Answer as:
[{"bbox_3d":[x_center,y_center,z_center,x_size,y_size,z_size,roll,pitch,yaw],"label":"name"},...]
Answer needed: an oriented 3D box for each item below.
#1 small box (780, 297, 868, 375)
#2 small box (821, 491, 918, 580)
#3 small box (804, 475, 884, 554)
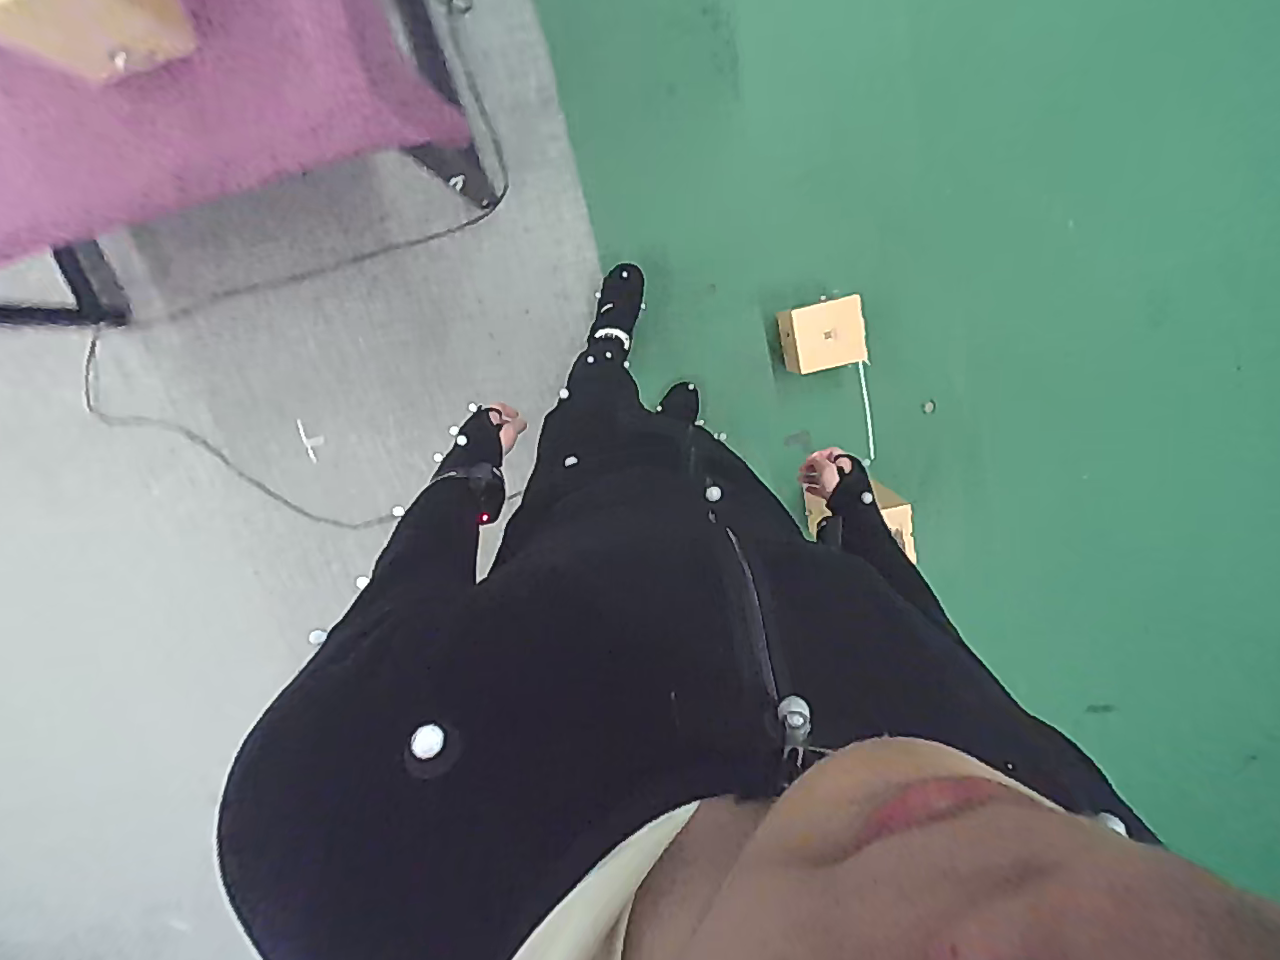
[{"bbox_3d":[0.483,-0.382,1.448,0.179,0.176,0.168,-13,104,3],"label":"small box"},{"bbox_3d":[0.593,0.137,1.409,0.179,0.176,0.168,-12,104,4],"label":"small box"},{"bbox_3d":[0.593,0.094,1.568,0.179,0.176,0.168,-12,104,4],"label":"small box"}]
